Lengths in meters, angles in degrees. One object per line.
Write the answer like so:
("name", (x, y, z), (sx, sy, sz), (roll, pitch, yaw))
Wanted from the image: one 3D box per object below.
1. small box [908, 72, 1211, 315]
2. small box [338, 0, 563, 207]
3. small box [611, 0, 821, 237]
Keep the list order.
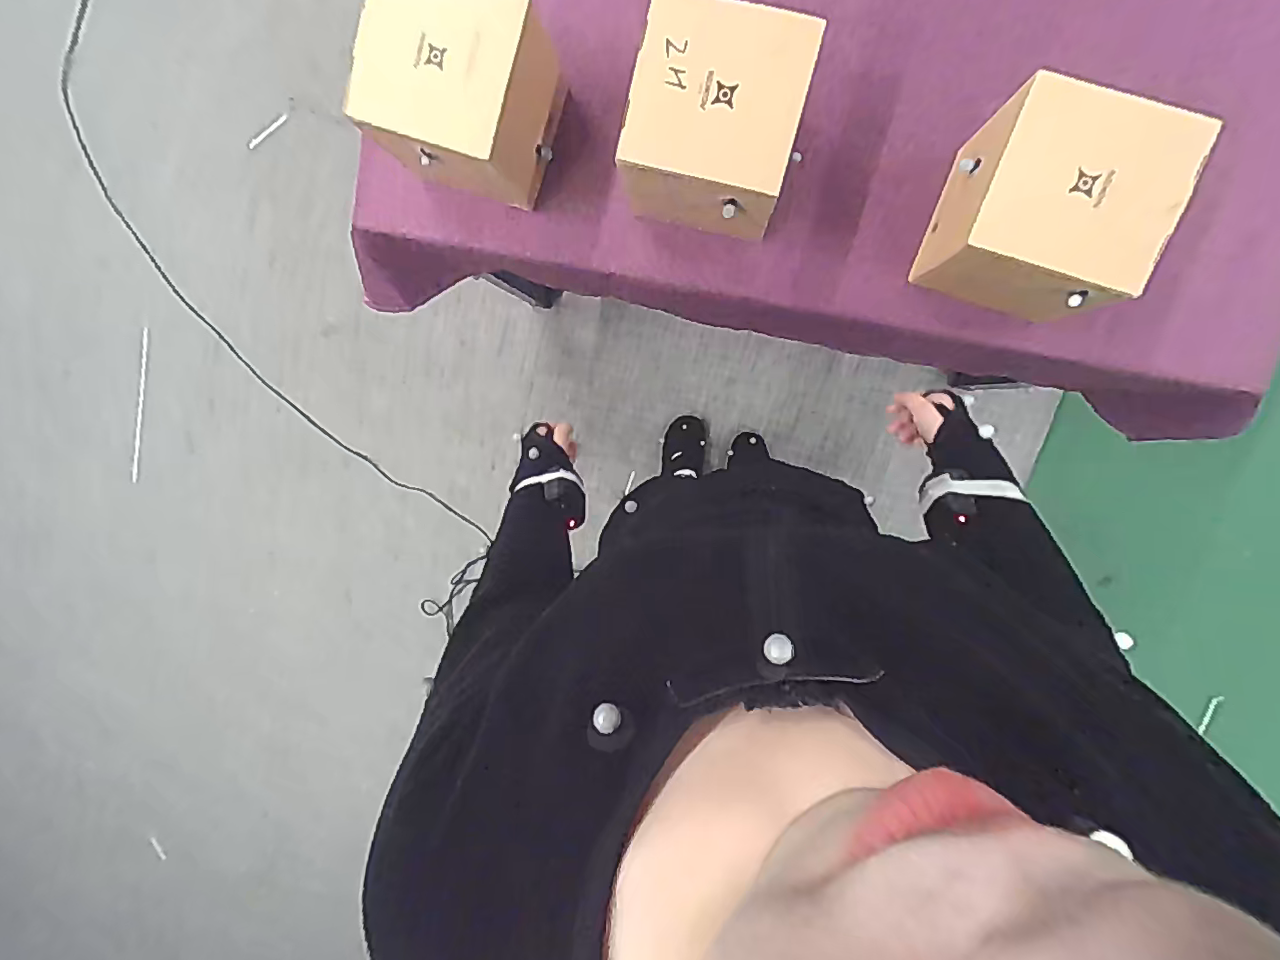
("small box", (0.431, -0.293, 0.596), (0.179, 0.176, 0.168), (19, 100, 3))
("small box", (-0.212, -0.455, 0.646), (0.179, 0.176, 0.168), (20, 101, 3))
("small box", (0.082, -0.397, 0.620), (0.179, 0.176, 0.168), (15, 99, 5))
